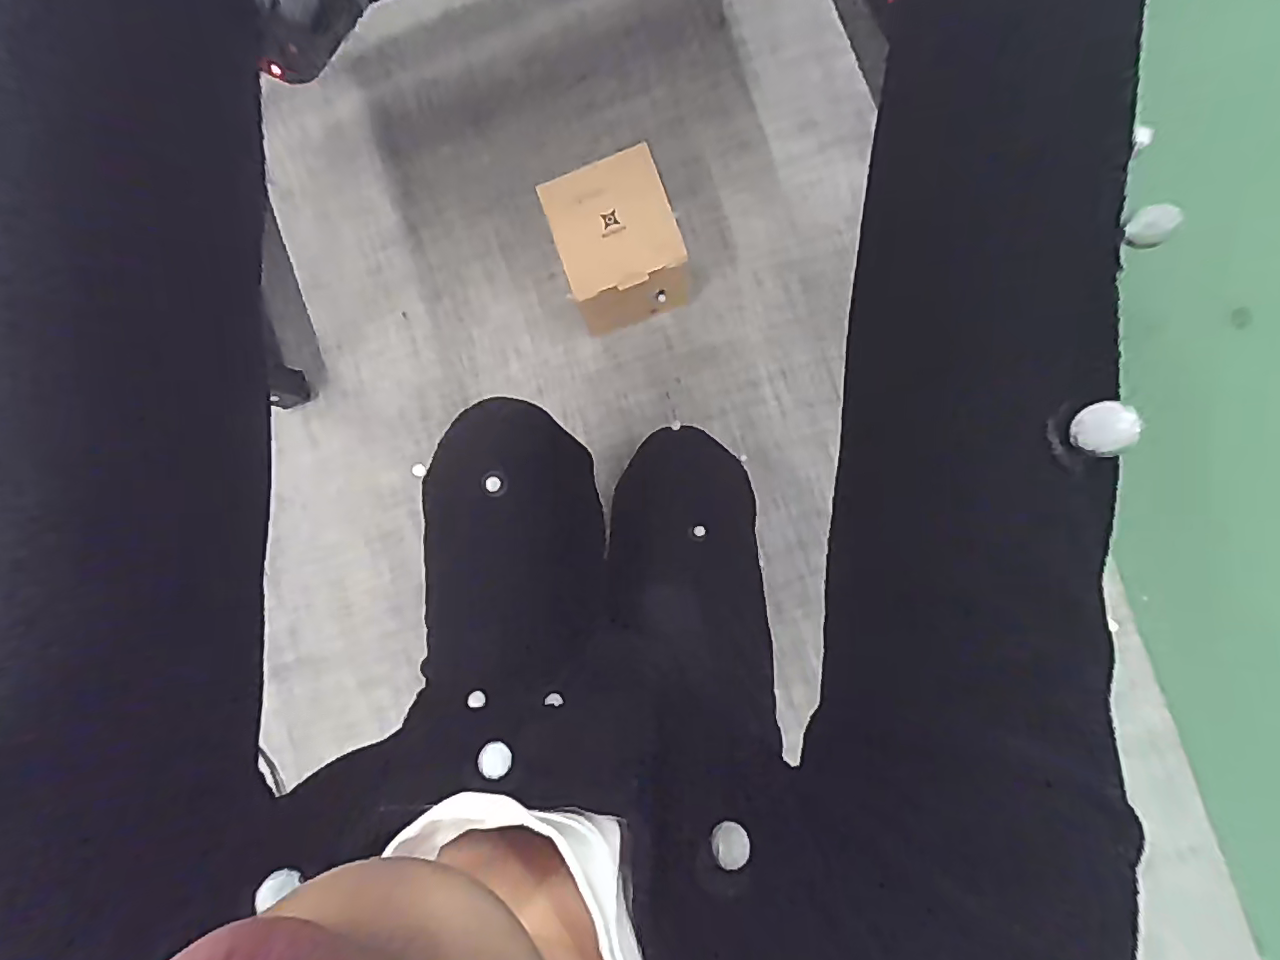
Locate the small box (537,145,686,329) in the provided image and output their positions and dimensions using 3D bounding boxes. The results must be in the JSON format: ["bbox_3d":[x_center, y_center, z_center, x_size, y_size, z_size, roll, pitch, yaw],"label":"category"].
[{"bbox_3d":[-0.032,-0.346,0.816,0.168,0.176,0.179,-20,85,3],"label":"small box"}]
